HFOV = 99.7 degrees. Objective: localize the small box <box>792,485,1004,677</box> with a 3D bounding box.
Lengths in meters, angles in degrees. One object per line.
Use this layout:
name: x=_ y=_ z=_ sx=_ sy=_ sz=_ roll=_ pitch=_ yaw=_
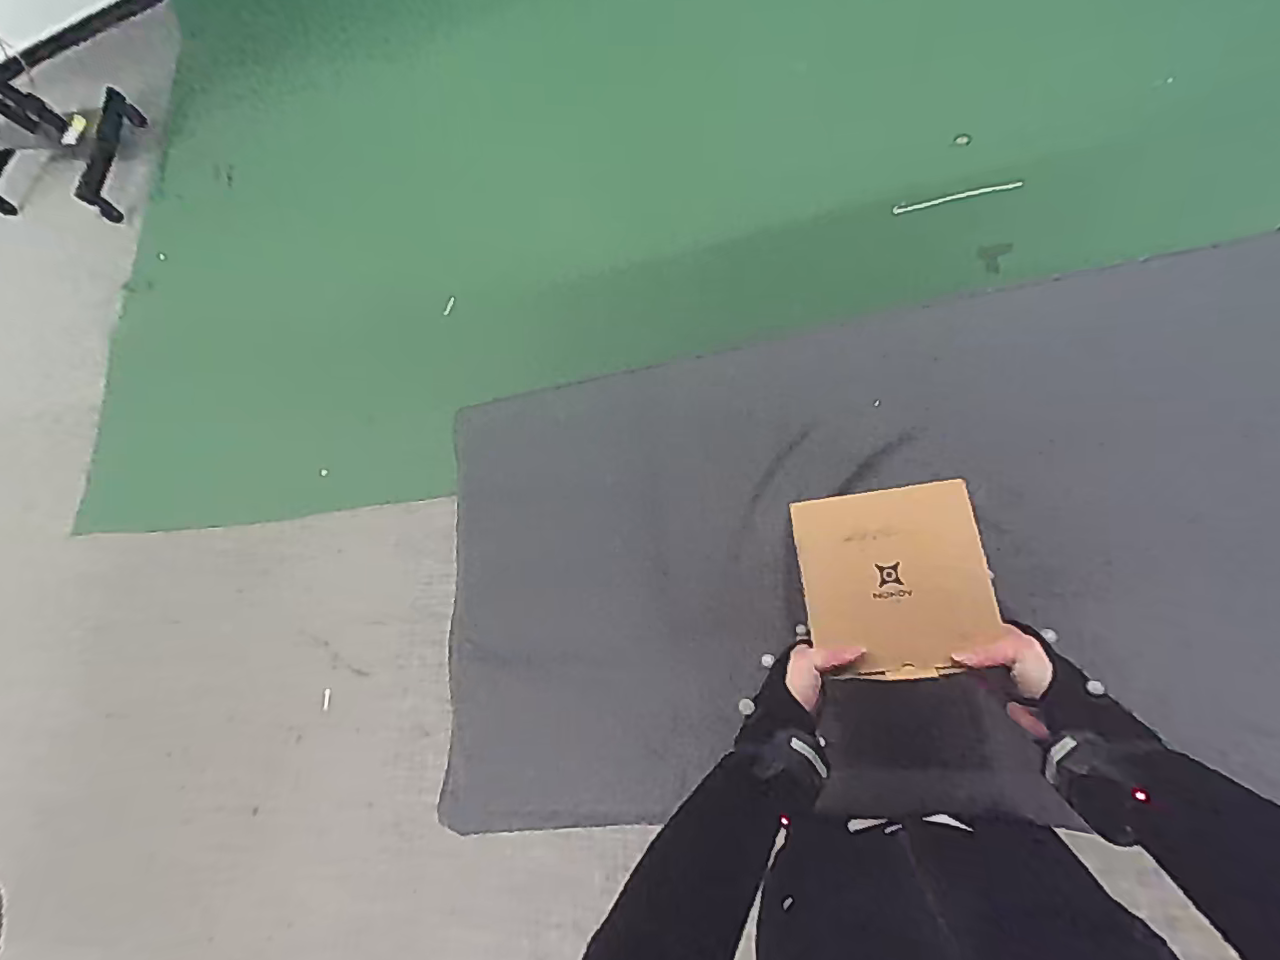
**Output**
small box: x=0.263 y=0.115 z=0.597 sx=0.168 sy=0.176 sz=0.179 roll=-7 pitch=74 yaw=12
